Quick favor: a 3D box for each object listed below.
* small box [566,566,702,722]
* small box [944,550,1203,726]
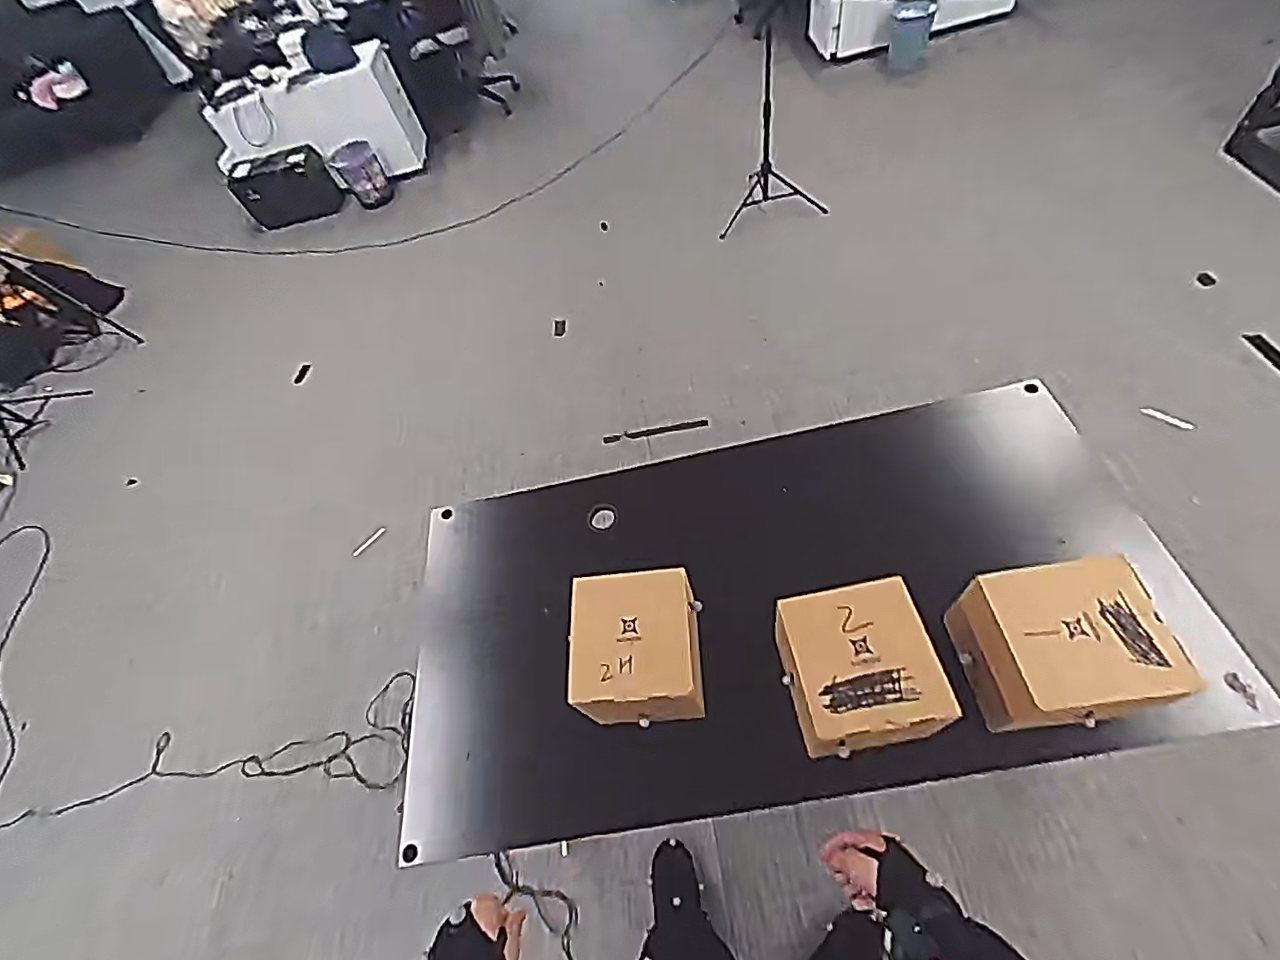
[{"bbox_3d":[-0.003,0.246,0.796,0.168,0.176,0.179,-8,57,8],"label":"small box"},{"bbox_3d":[0.530,0.210,0.698,0.179,0.176,0.168,-11,56,7],"label":"small box"}]
